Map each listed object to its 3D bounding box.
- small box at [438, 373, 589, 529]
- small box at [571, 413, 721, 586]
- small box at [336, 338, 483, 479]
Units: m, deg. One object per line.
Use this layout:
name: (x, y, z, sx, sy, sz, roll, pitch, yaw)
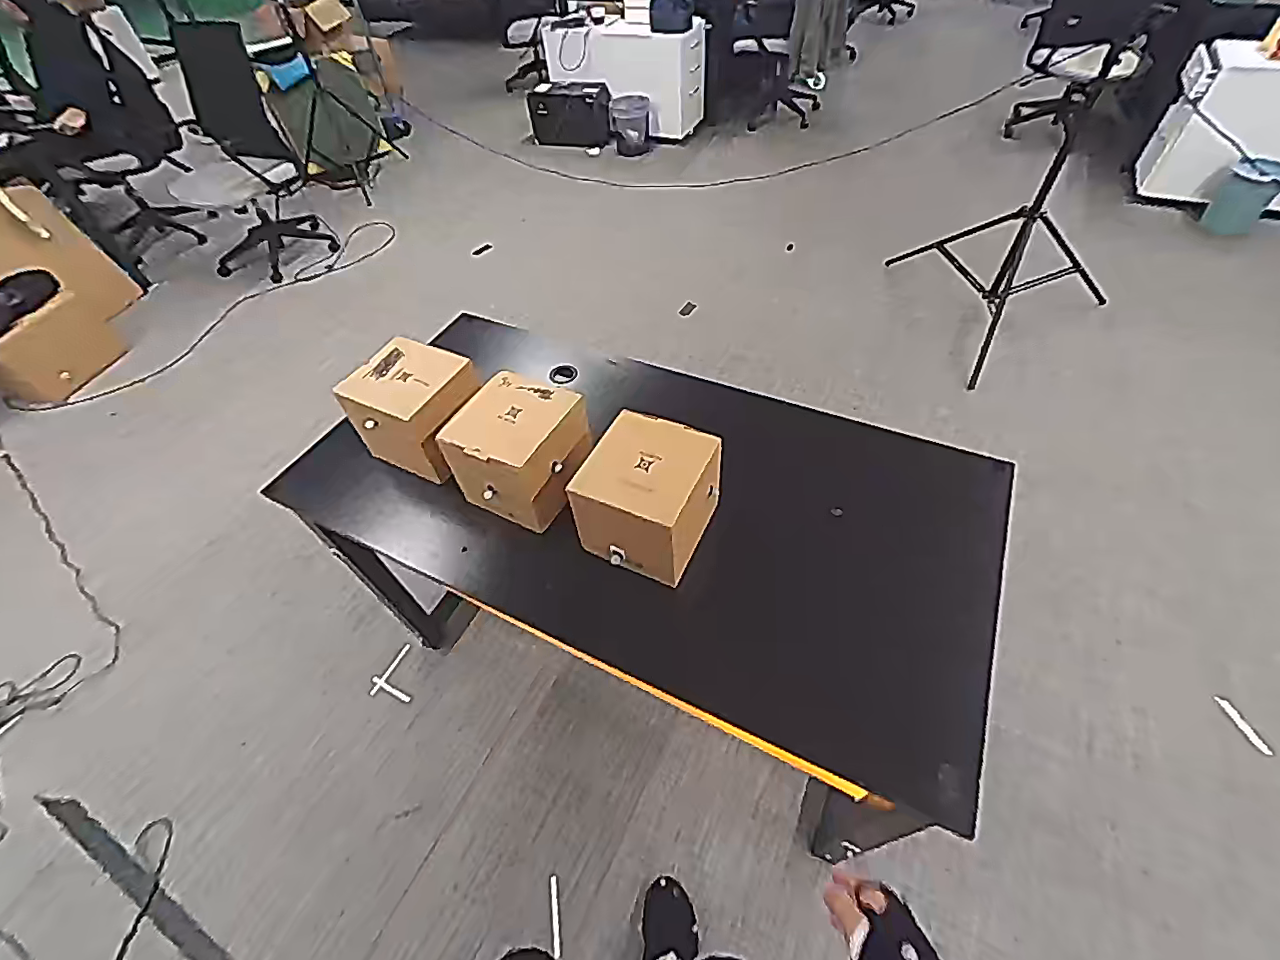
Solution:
small box: (-0.198, -0.046, 0.912, 0.168, 0.176, 0.179, 21, 56, 18)
small box: (0.015, 0.031, 0.836, 0.168, 0.176, 0.179, 18, 56, 20)
small box: (-0.400, -0.127, 0.991, 0.179, 0.176, 0.168, 21, 56, 19)
